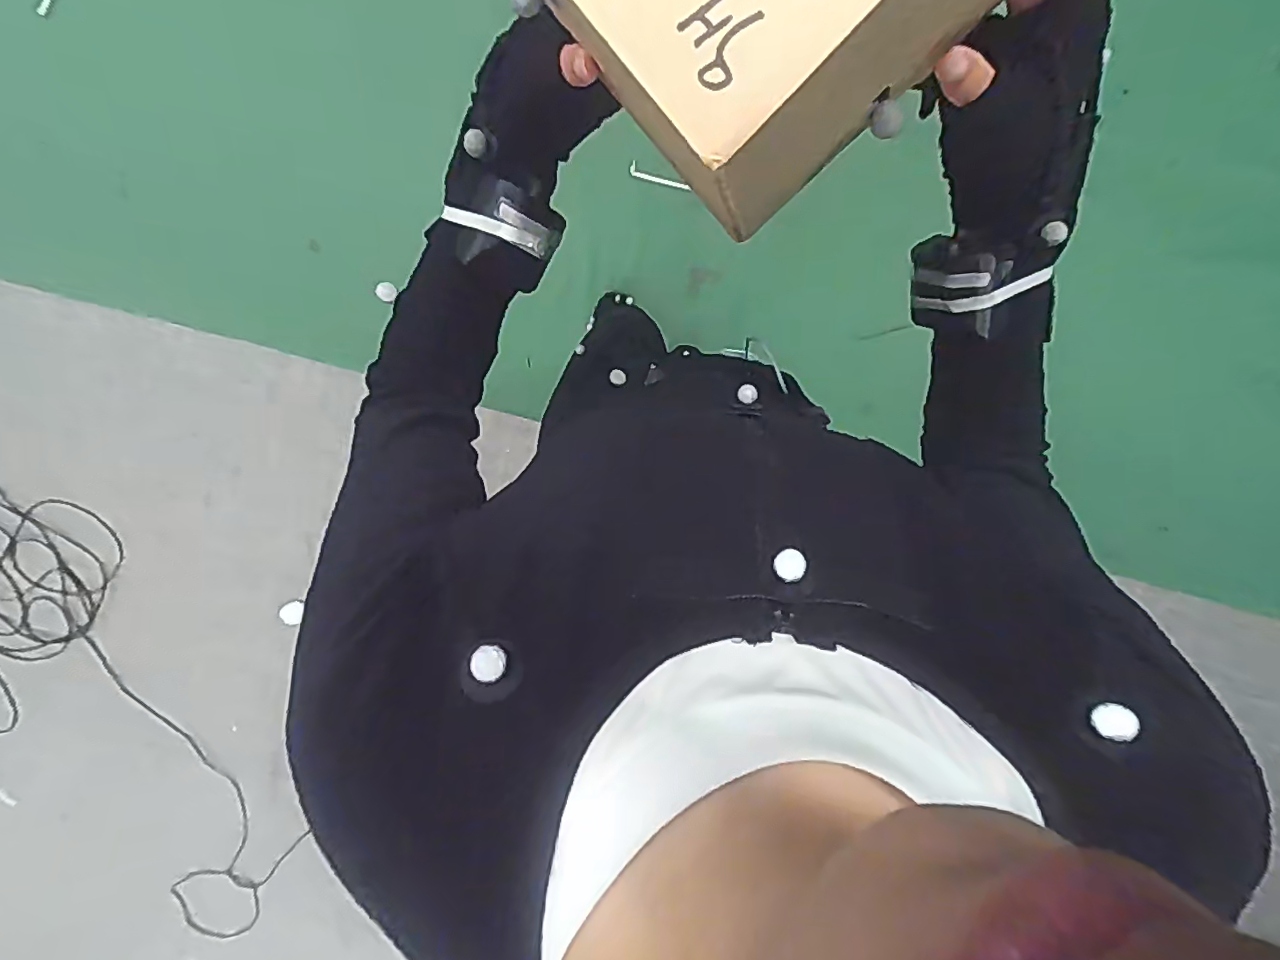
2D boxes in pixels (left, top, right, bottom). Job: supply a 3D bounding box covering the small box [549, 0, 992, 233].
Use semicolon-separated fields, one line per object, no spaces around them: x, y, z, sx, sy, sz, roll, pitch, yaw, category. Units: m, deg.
0.053;-0.235;0.219;0.179;0.176;0.168;-39;93;20;small box
